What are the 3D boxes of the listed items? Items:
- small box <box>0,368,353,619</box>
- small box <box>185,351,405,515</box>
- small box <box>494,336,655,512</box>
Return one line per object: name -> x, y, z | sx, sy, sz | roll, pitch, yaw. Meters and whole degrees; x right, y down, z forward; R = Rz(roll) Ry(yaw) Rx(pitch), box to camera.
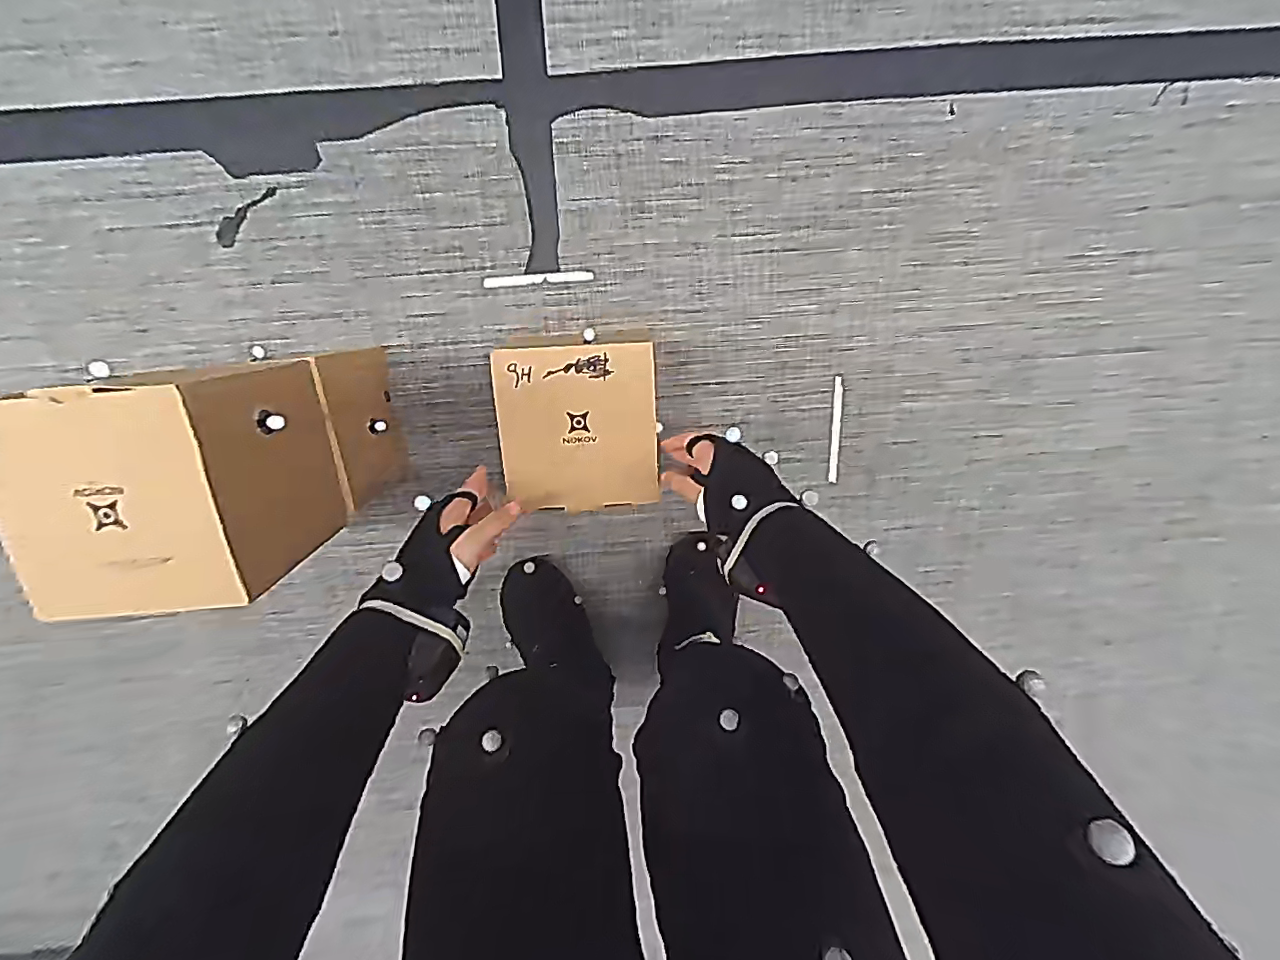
small box -> -0.389, -0.002, 0.480 | 0.168, 0.176, 0.179 | -4, 109, 0
small box -> -0.395, -0.057, 0.633 | 0.179, 0.176, 0.168 | -5, 108, -1
small box -> -0.068, -0.075, 0.648 | 0.168, 0.176, 0.179 | -3, 109, -3
